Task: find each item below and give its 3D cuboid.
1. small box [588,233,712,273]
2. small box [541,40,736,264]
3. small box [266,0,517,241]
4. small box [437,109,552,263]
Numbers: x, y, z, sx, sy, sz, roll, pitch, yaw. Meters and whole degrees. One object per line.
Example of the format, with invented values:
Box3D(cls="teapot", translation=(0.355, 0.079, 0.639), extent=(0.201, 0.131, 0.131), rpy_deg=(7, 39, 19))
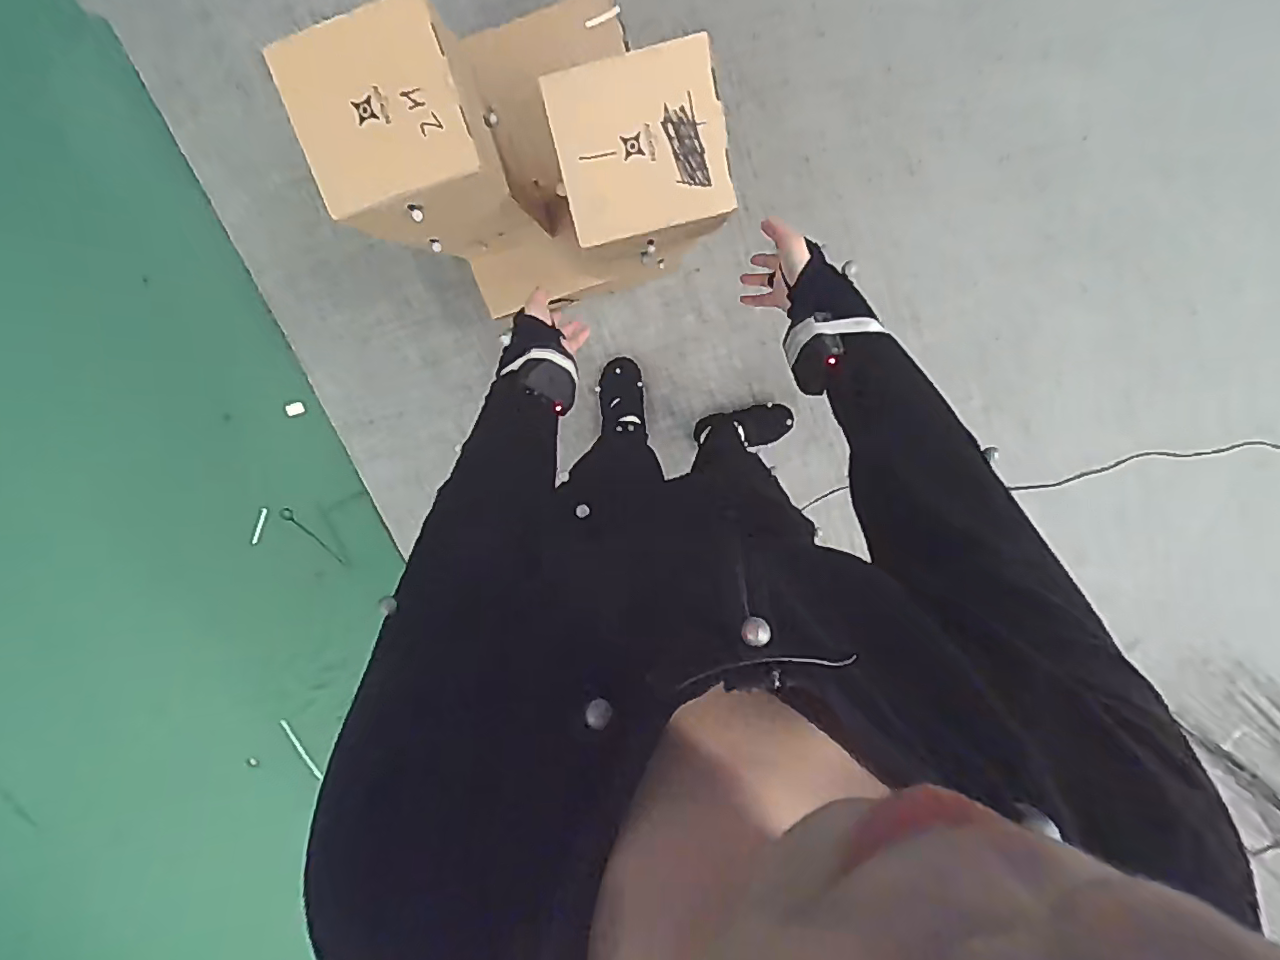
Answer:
Box3D(cls="small box", translation=(-0.005, -0.411, 0.790), extent=(0.179, 0.176, 0.168), rpy_deg=(-13, 105, 3))
Box3D(cls="small box", translation=(0.000, -0.363, 0.633), extent=(0.179, 0.176, 0.168), rpy_deg=(-12, 106, 4))
Box3D(cls="small box", translation=(-0.265, -0.393, 0.623), extent=(0.179, 0.176, 0.168), rpy_deg=(-15, 105, 6))
Box3D(cls="small box", translation=(-0.263, -0.495, 0.938), extent=(0.168, 0.176, 0.179), rpy_deg=(-13, 104, 5))
